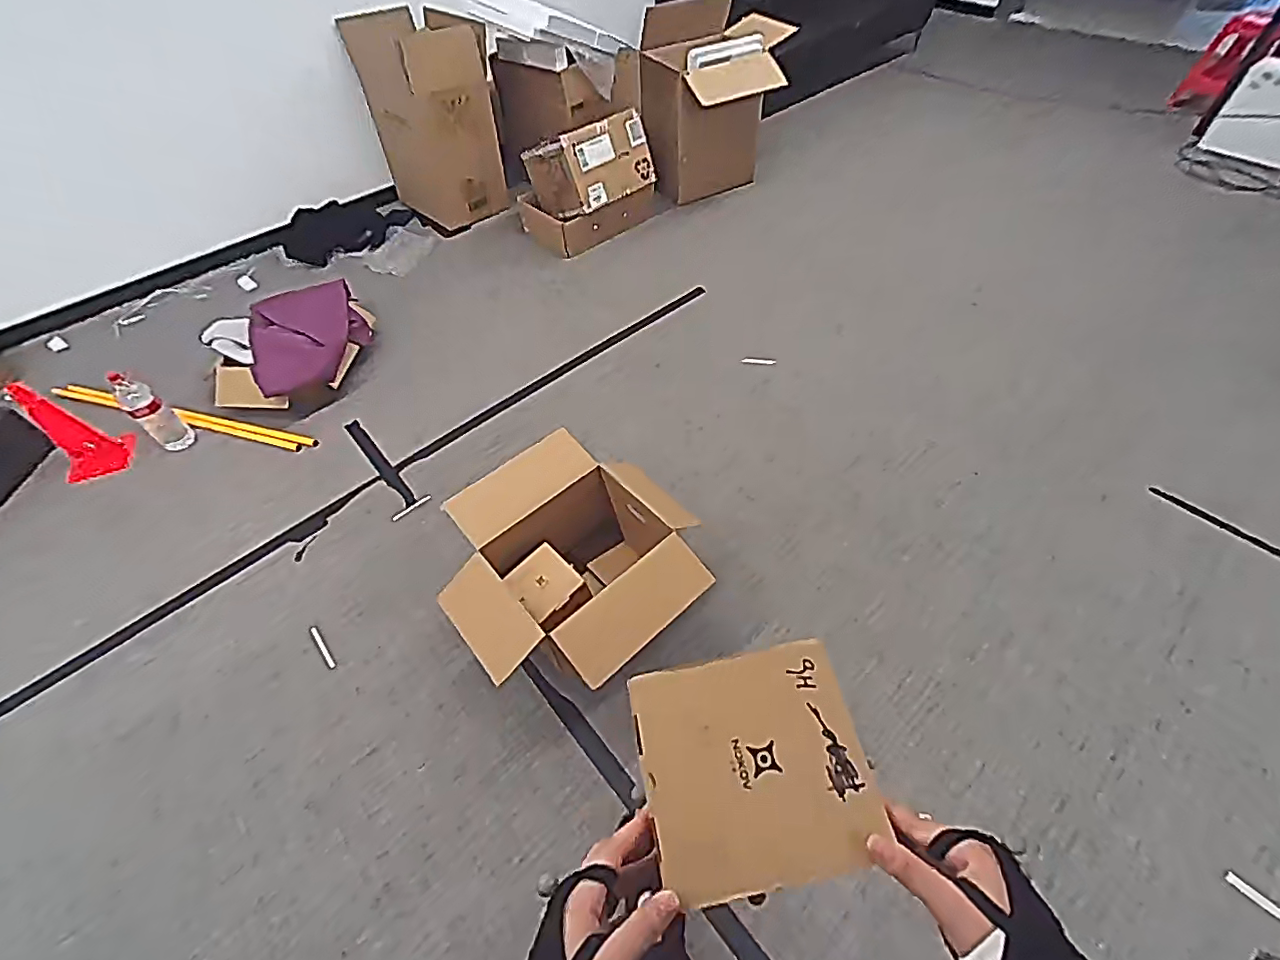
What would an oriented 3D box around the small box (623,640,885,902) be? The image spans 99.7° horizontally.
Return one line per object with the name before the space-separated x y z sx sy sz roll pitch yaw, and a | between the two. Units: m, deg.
small box | 0.090 0.269 0.503 0.179 0.176 0.168 -11 57 -2
